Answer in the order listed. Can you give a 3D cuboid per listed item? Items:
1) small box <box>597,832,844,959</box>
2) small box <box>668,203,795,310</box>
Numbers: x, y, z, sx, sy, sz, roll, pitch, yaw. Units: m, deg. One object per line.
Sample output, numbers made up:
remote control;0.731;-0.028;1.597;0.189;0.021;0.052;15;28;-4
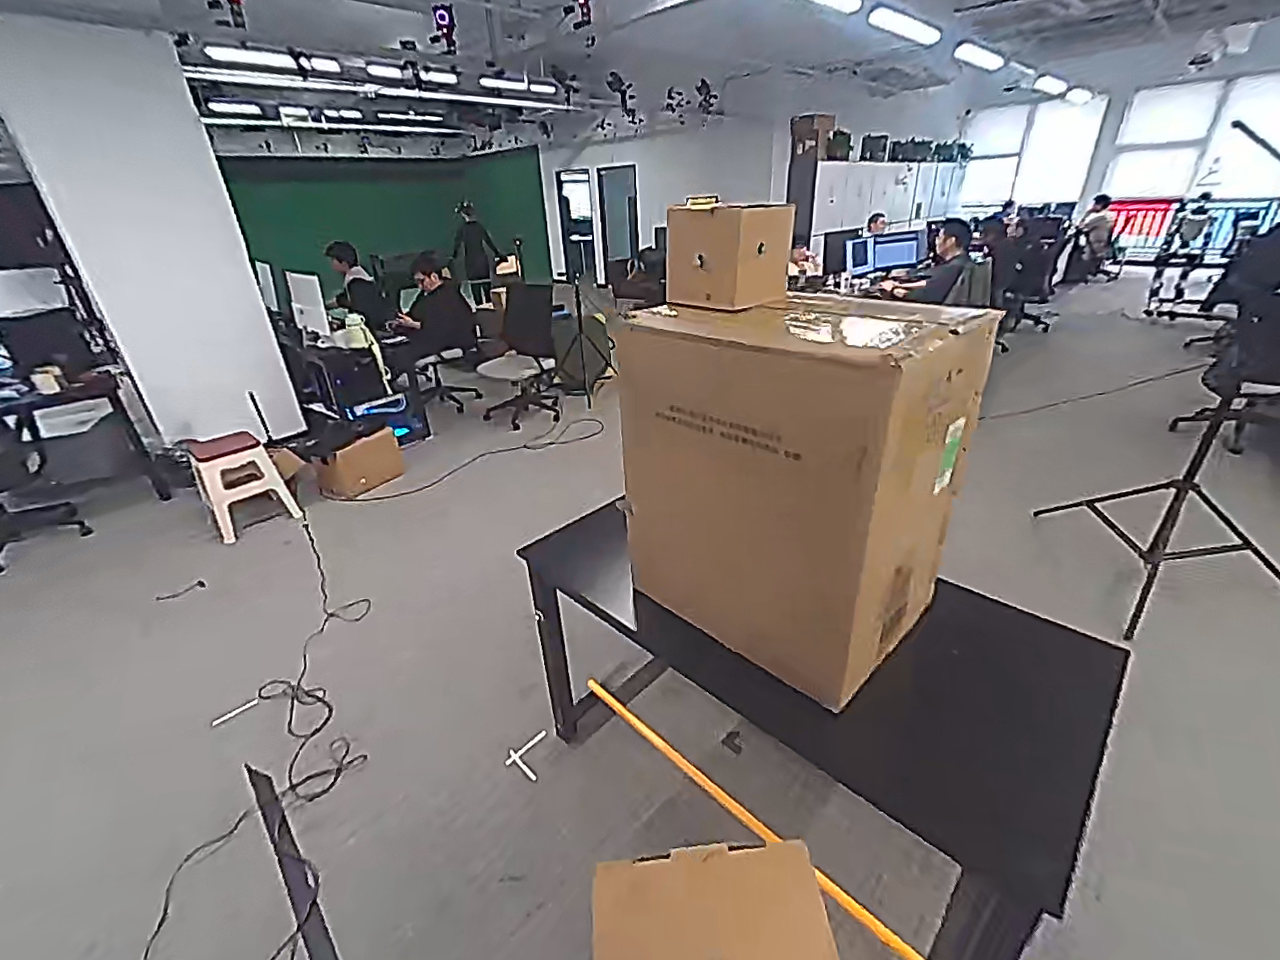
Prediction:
small box;0.056;0.389;0.391;0.168;0.176;0.179;-5;39;-3
small box;0.171;-0.421;1.015;0.168;0.176;0.179;23;36;39
